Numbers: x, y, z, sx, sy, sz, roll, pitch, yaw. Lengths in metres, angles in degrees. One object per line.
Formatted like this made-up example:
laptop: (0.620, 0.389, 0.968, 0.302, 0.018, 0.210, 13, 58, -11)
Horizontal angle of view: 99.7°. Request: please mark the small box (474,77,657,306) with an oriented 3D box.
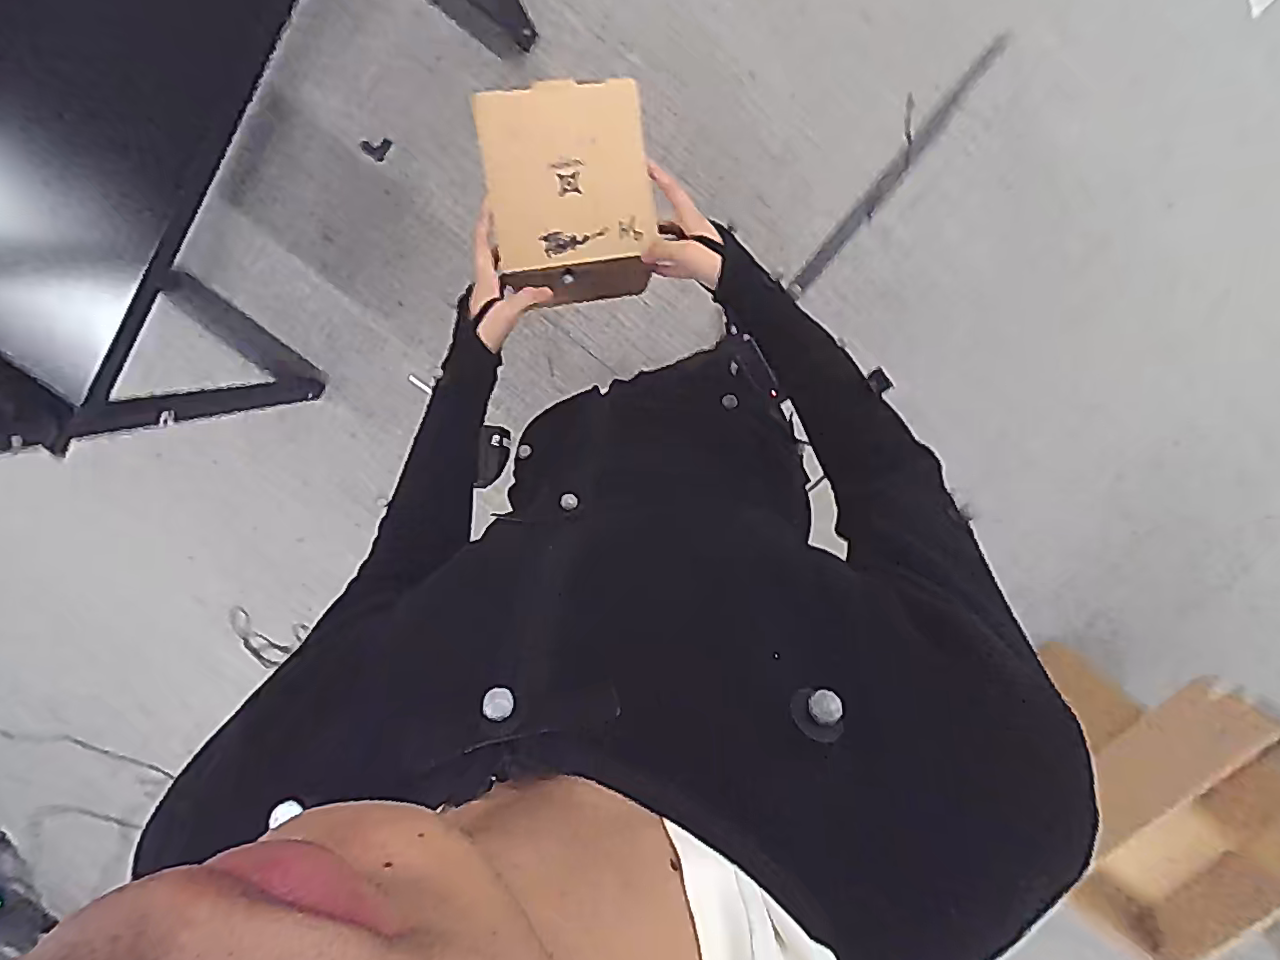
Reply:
small box: (-0.080, -0.314, 0.621, 0.168, 0.176, 0.179, -8, 96, -4)
